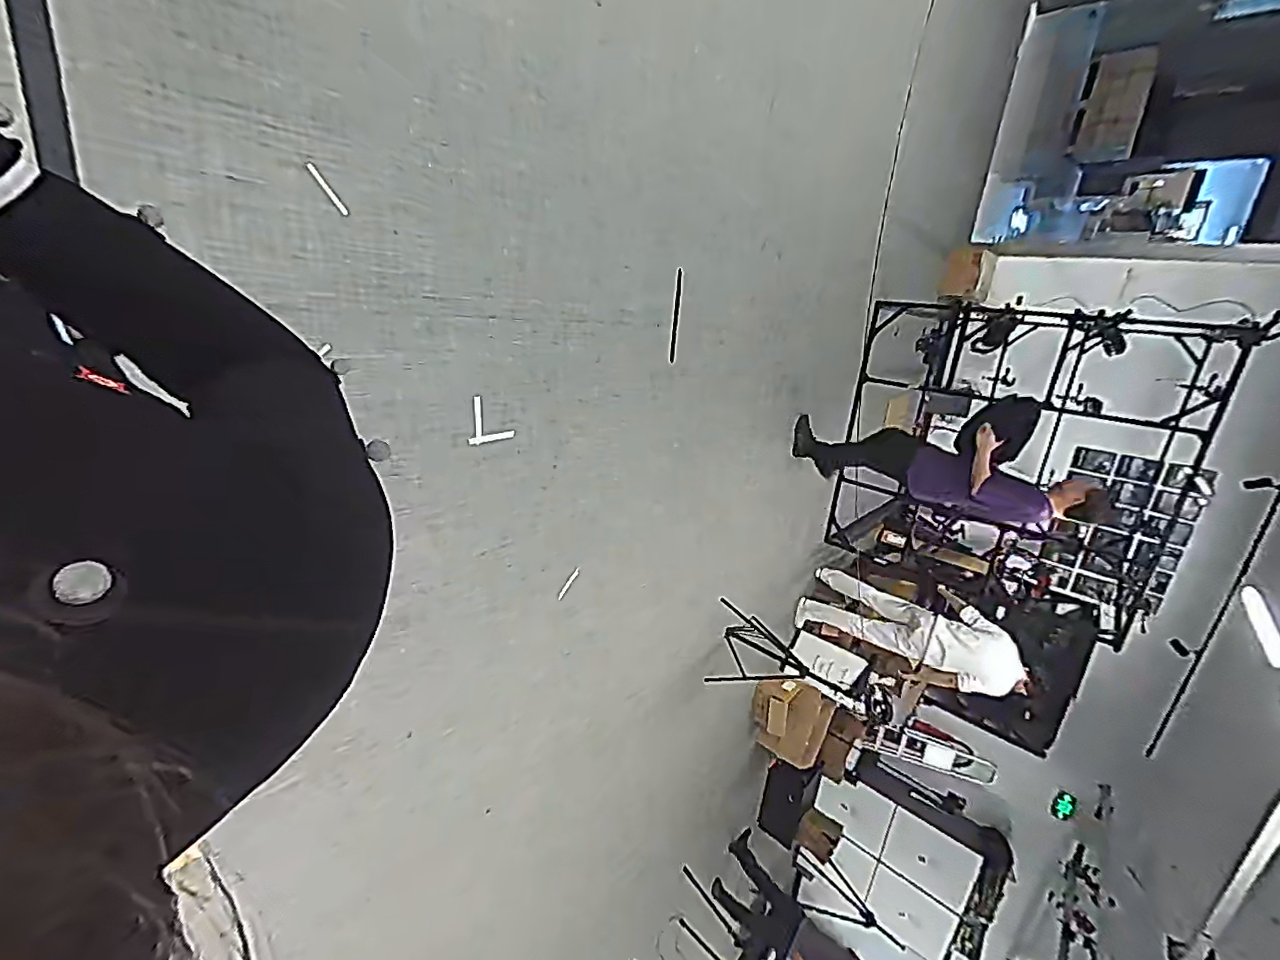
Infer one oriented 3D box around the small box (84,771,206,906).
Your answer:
[{"bbox_3d":[-1.161,0.824,1.269,0.168,0.176,0.179,-21,122,-45],"label":"small box"}]
